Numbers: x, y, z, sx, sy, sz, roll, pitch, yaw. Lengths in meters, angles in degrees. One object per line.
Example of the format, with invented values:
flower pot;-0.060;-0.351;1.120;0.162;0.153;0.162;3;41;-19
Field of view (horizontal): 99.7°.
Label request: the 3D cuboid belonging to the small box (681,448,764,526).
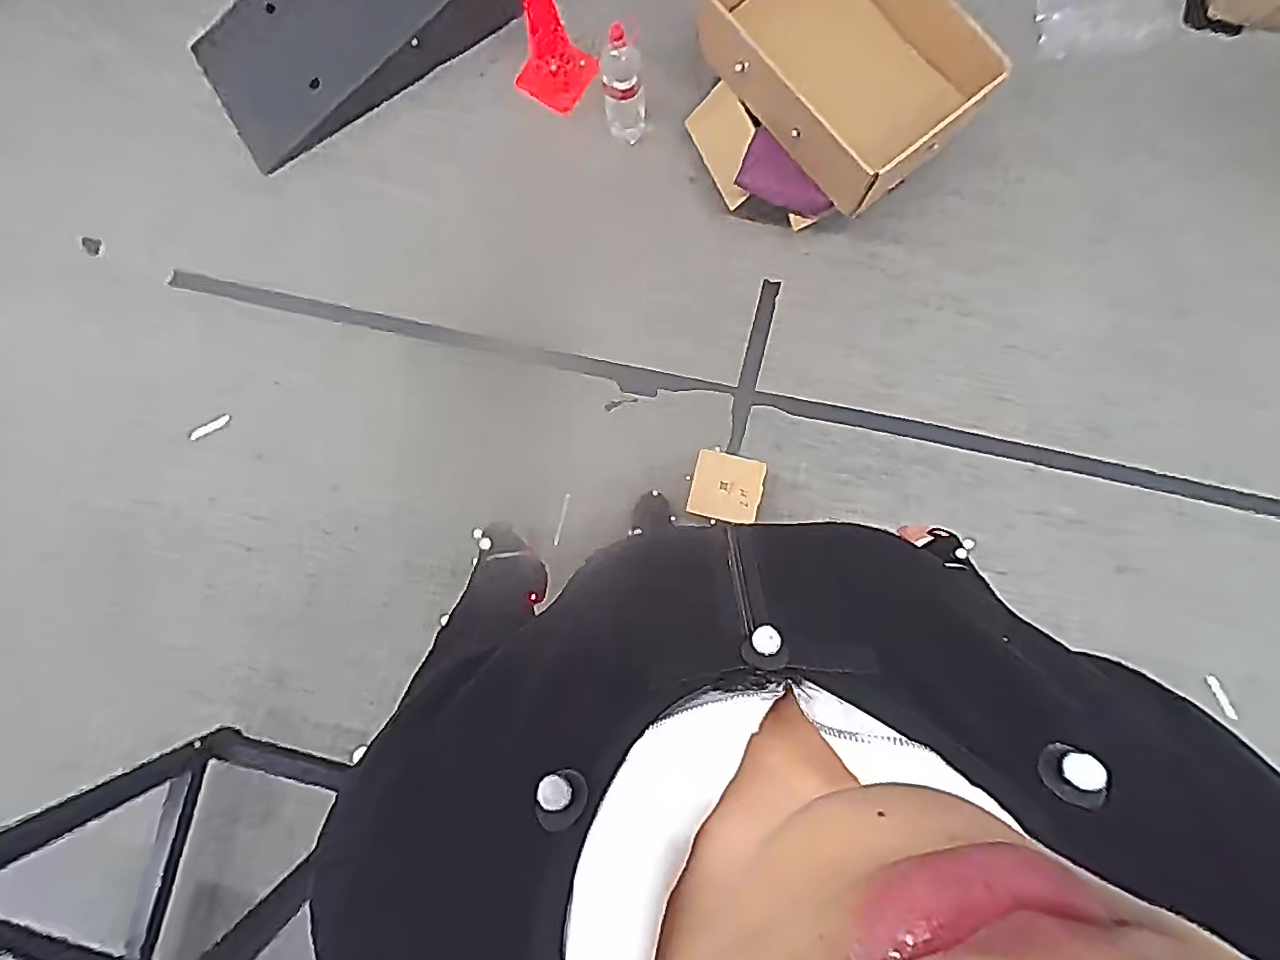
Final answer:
small box;0.211;0.021;1.434;0.179;0.176;0.168;14;88;2
